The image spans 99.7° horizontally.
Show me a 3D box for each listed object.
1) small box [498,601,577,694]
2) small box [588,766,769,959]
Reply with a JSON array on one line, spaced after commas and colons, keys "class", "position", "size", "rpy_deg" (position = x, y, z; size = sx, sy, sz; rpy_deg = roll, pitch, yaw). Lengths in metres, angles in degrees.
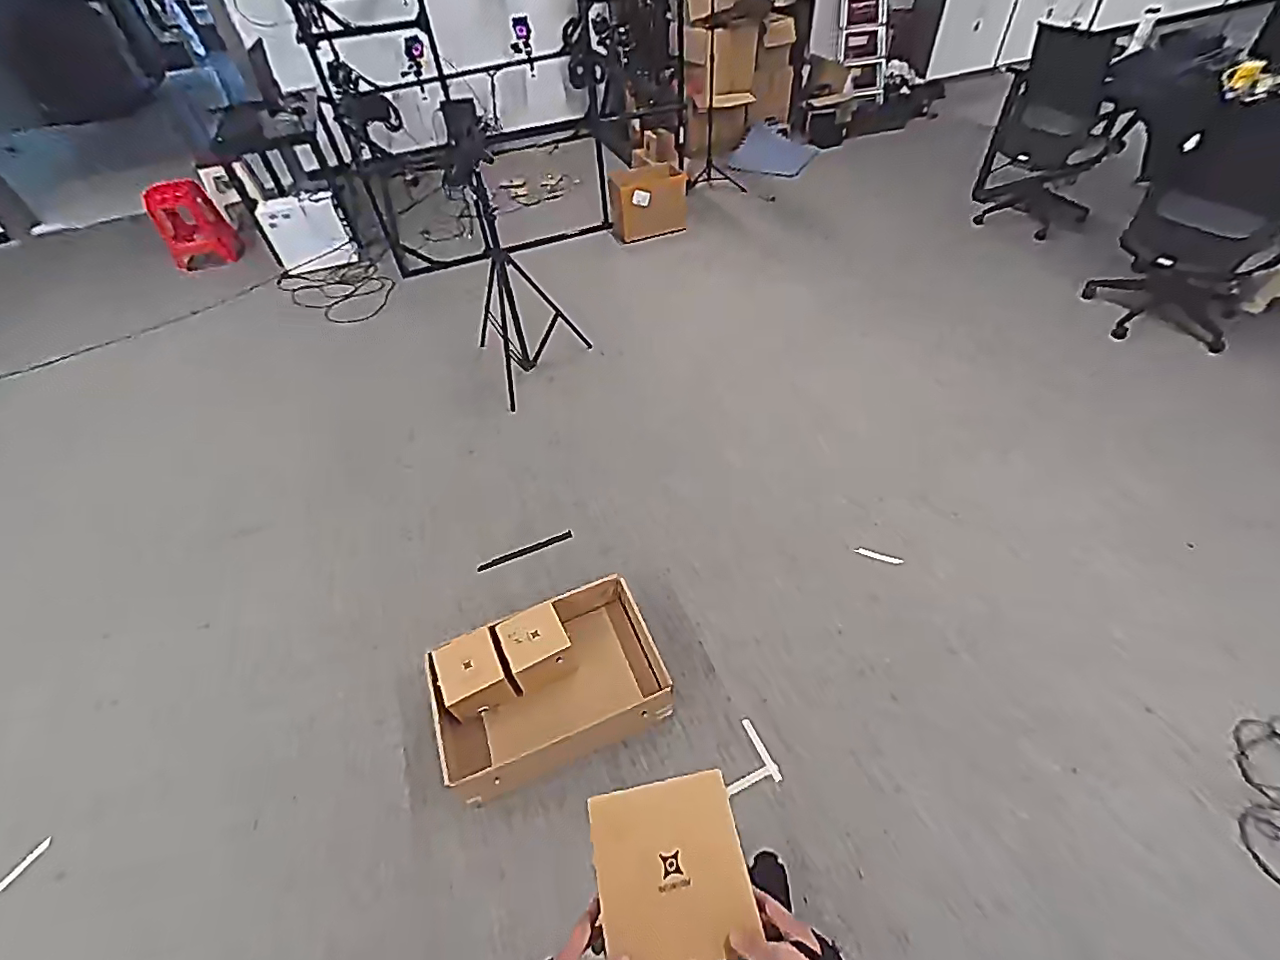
[{"class": "small box", "position": [-0.296, 0.494, 1.590], "size": [0.179, 0.176, 0.168], "rpy_deg": [-24, 51, -16]}, {"class": "small box", "position": [0.031, 0.470, 0.646], "size": [0.168, 0.176, 0.179], "rpy_deg": [-9, 53, -9]}]
